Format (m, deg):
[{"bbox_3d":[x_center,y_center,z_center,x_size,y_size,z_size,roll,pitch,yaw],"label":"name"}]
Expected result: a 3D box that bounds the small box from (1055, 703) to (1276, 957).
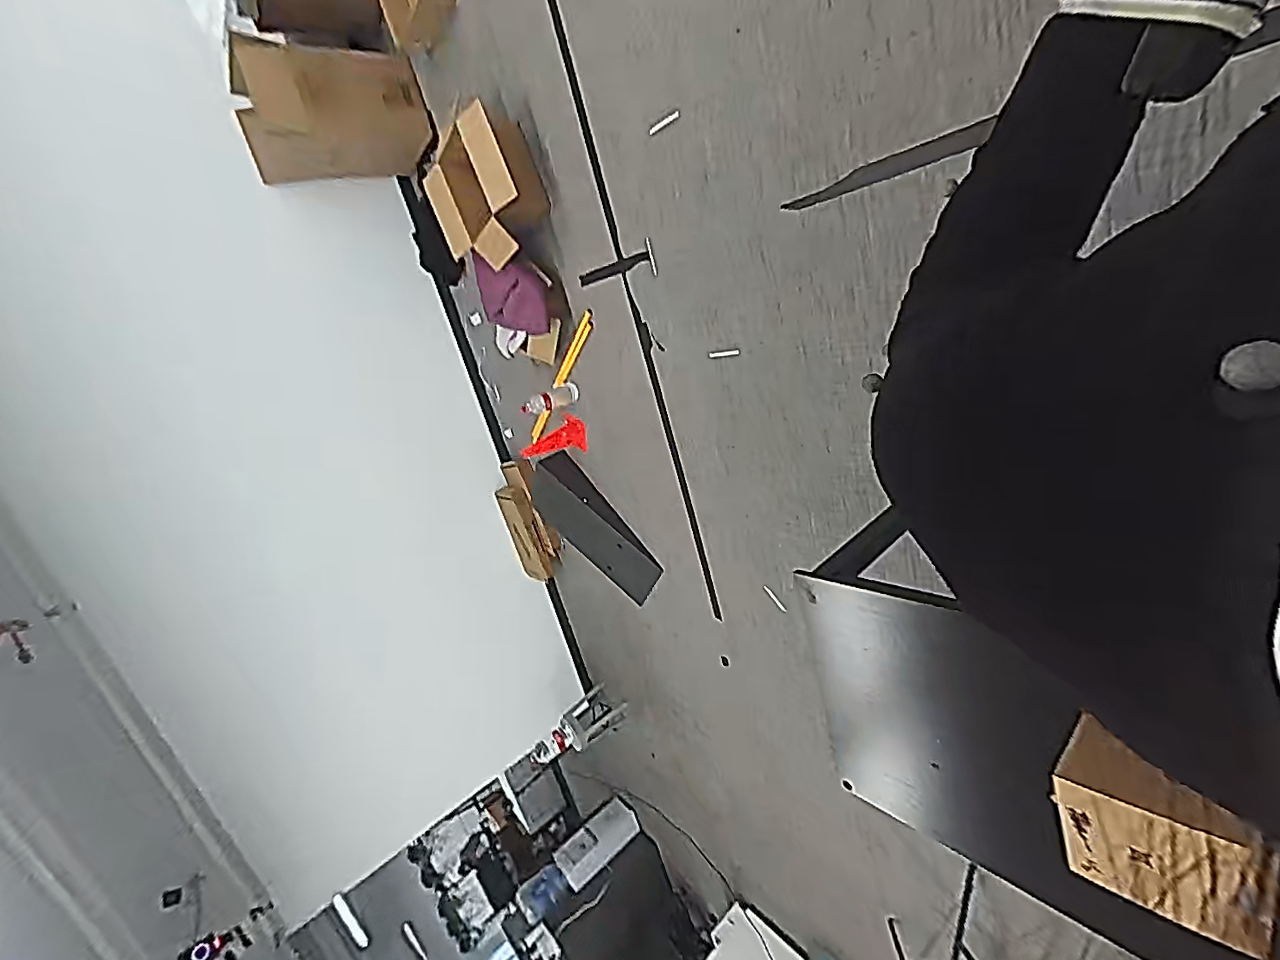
[{"bbox_3d":[0.663,0.415,0.681,0.179,0.176,0.168,0,113,54],"label":"small box"}]
